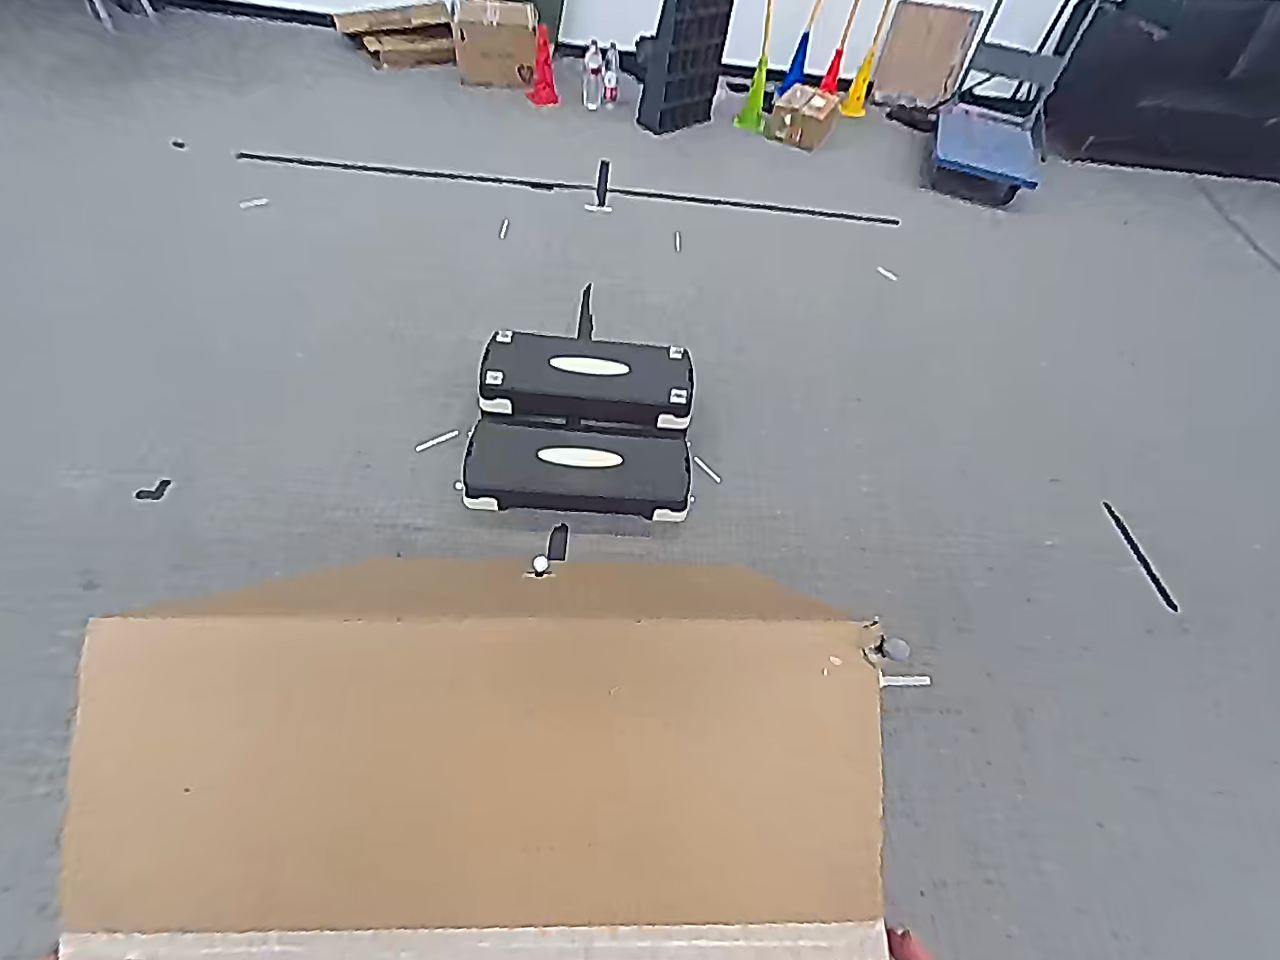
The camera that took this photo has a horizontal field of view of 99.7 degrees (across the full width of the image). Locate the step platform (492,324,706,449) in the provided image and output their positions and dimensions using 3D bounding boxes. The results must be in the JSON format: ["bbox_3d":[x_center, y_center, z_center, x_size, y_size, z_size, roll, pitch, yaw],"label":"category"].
[{"bbox_3d":[-0.127,-0.309,1.774,0.684,0.204,0.286,10,53,-2],"label":"step platform"}]
